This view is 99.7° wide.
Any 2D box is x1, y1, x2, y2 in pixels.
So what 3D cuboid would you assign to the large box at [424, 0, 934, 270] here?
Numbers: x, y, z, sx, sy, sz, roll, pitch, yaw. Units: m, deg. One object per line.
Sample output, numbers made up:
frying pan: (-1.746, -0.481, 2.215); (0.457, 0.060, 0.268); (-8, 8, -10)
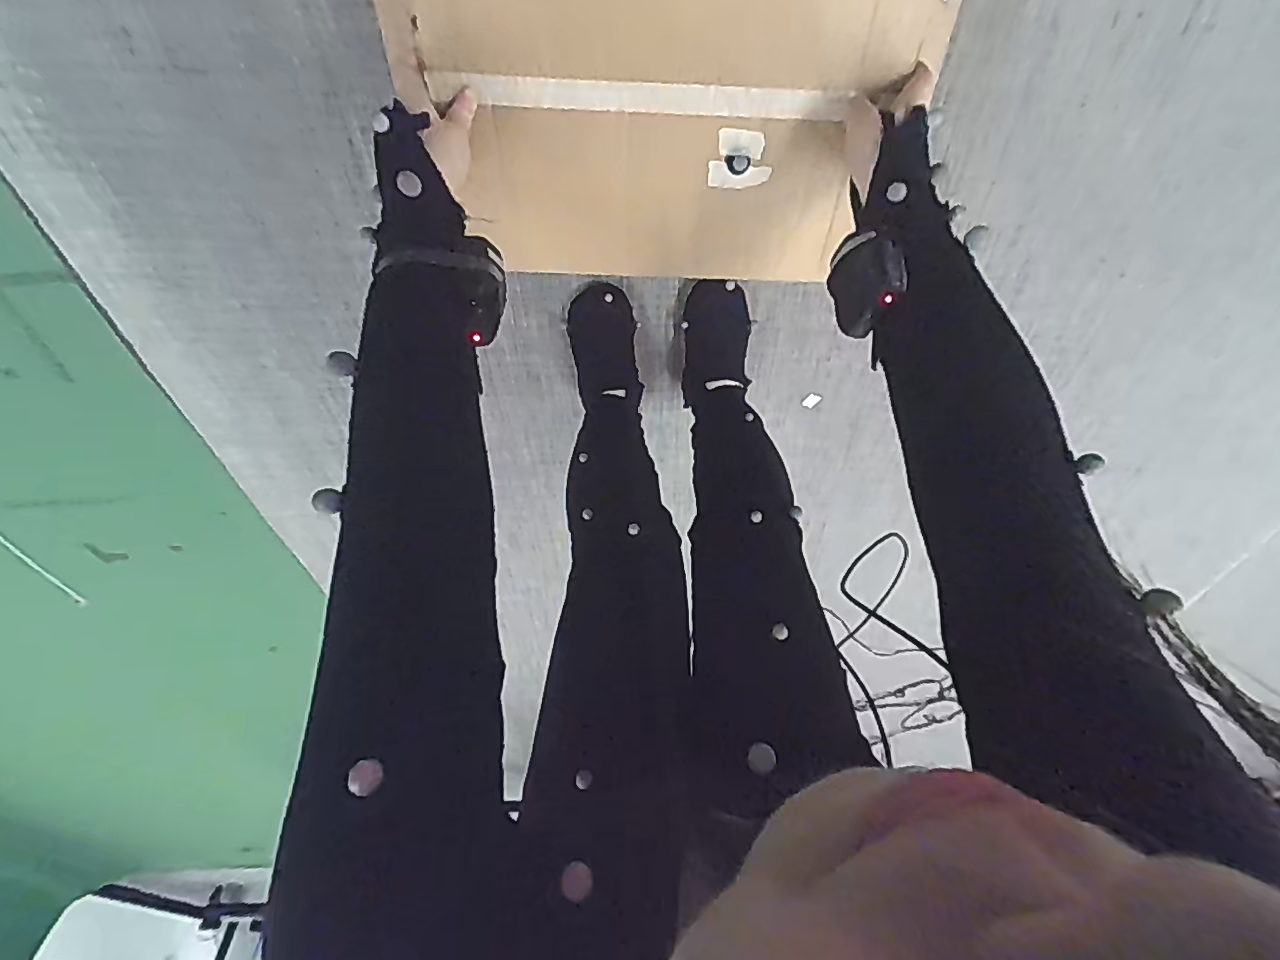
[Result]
large box: (0.023, -0.433, 0.564); (0.408, 0.320, 0.320); (0, 135, -4)
